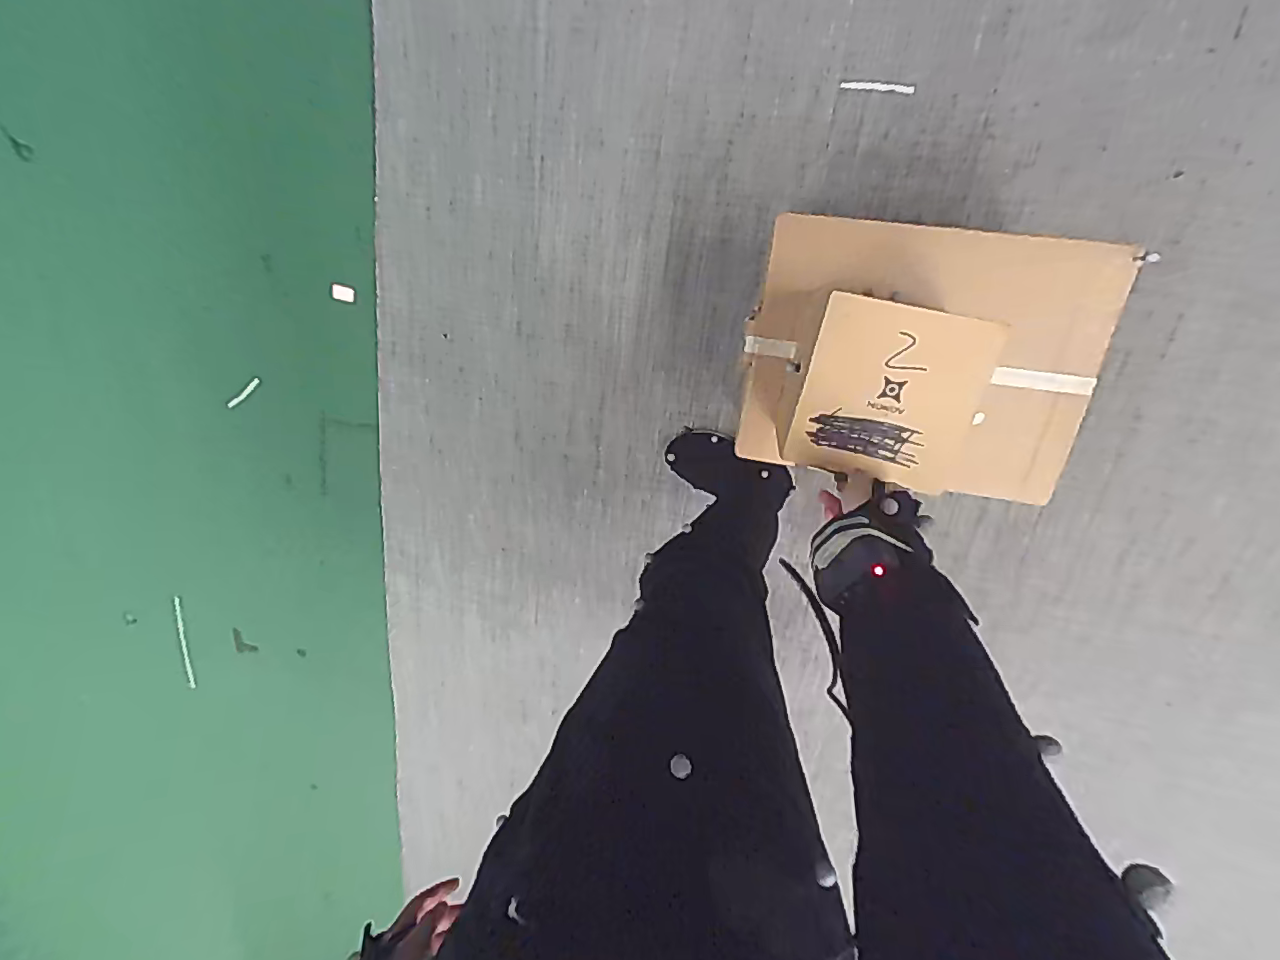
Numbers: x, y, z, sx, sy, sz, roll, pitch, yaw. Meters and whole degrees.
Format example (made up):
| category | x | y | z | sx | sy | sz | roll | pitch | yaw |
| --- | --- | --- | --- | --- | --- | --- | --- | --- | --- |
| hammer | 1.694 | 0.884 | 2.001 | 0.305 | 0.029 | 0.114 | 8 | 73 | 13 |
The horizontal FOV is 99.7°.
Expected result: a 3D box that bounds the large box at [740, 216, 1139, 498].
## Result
| category | x | y | z | sx | sy | sz | roll | pitch | yaw |
| --- | --- | --- | --- | --- | --- | --- | --- | --- | --- |
| large box | 0.369 | -0.191 | 0.811 | 0.408 | 0.320 | 0.320 | 9 | 111 | 8 |
